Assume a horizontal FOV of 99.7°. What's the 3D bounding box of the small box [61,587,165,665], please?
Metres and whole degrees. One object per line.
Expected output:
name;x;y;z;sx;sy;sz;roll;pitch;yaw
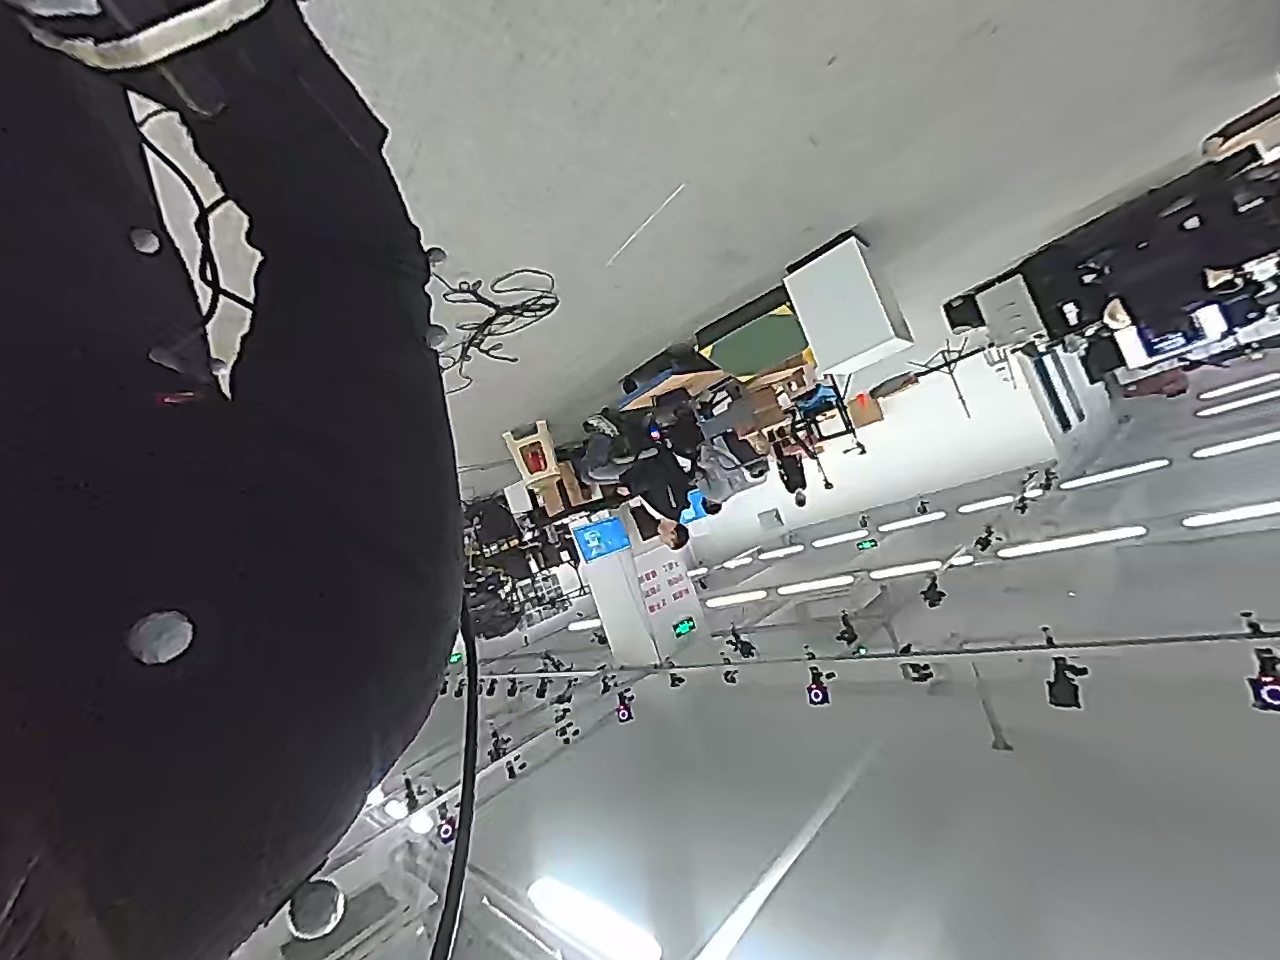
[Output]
small box;-1.511;0.417;1.558;0.168;0.176;0.179;-17;175;-33

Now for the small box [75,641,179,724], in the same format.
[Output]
small box;-1.468;0.574;1.555;0.179;0.176;0.168;-15;173;-37
